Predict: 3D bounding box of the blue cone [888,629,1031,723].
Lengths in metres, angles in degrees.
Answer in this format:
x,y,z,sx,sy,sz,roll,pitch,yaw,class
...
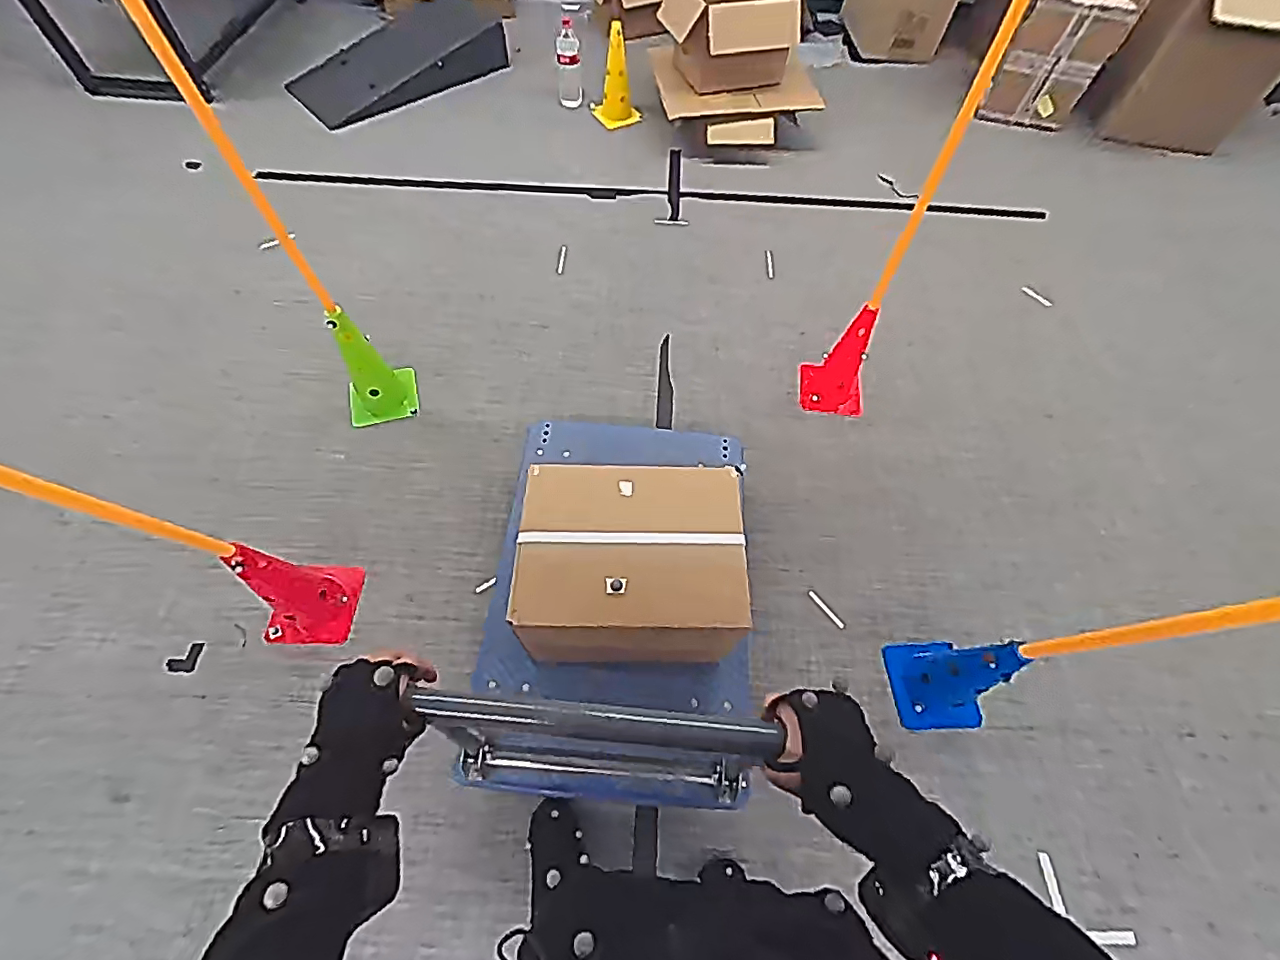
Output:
x,y,z,sx,sy,sz,roll,pitch,yaw,class
0.724,0.406,1.183,0.193,0.380,0.192,0,59,-3,blue cone

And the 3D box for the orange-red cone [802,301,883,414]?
x,y,z,sx,sy,sz,roll,pitch,yaw,class
0.639,-0.388,1.620,0.199,0.360,0.198,9,61,2,orange-red cone
